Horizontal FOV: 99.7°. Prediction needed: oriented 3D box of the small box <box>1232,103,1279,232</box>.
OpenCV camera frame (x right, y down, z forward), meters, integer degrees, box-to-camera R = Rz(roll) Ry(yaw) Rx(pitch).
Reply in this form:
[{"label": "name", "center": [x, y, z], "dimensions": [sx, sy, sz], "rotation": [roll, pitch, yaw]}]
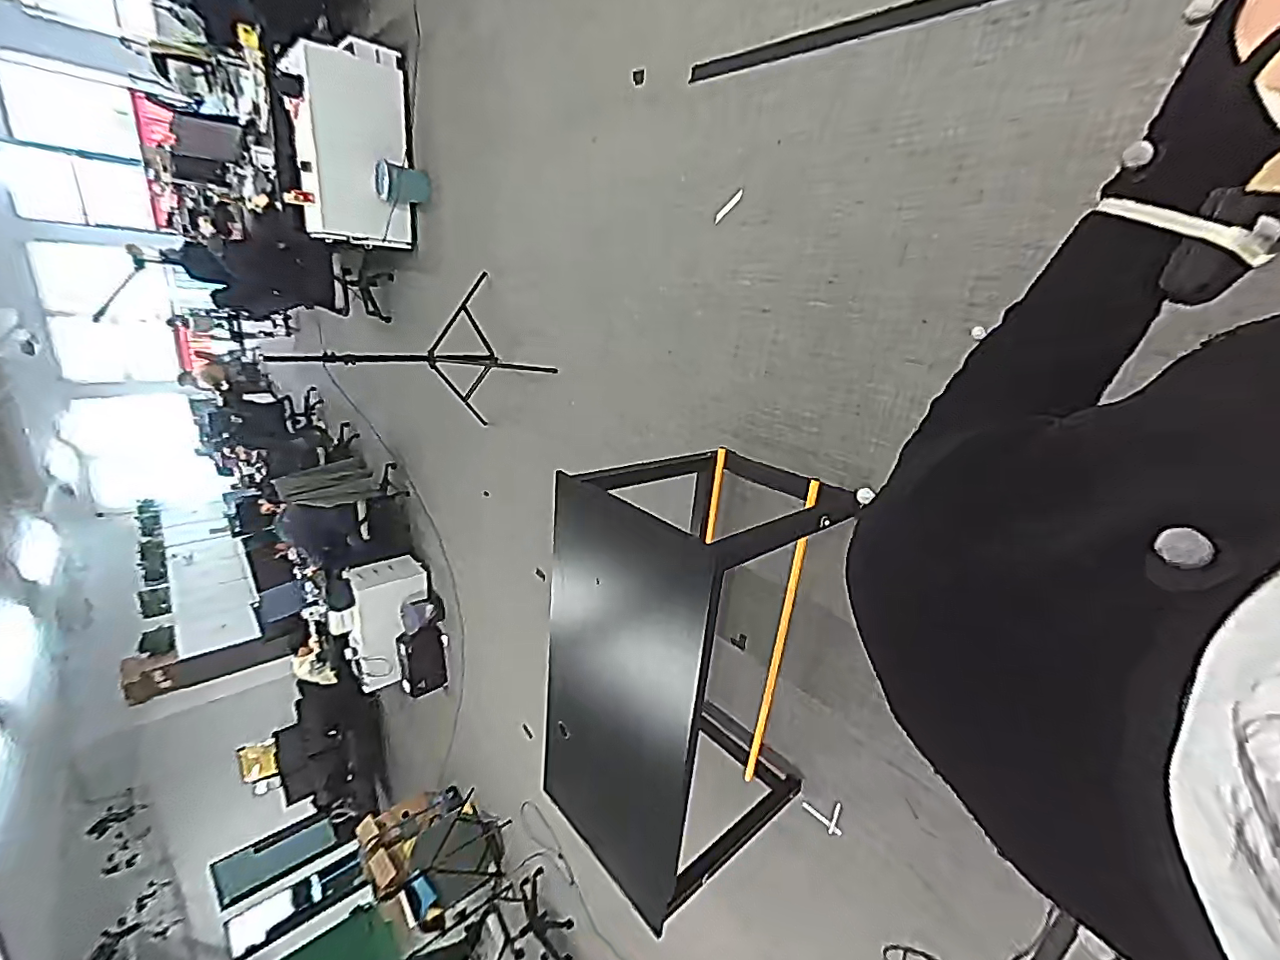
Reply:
[{"label": "small box", "center": [1.095, -0.502, 0.863], "dimensions": [0.168, 0.176, 0.179], "rotation": [18, 113, 46]}]
